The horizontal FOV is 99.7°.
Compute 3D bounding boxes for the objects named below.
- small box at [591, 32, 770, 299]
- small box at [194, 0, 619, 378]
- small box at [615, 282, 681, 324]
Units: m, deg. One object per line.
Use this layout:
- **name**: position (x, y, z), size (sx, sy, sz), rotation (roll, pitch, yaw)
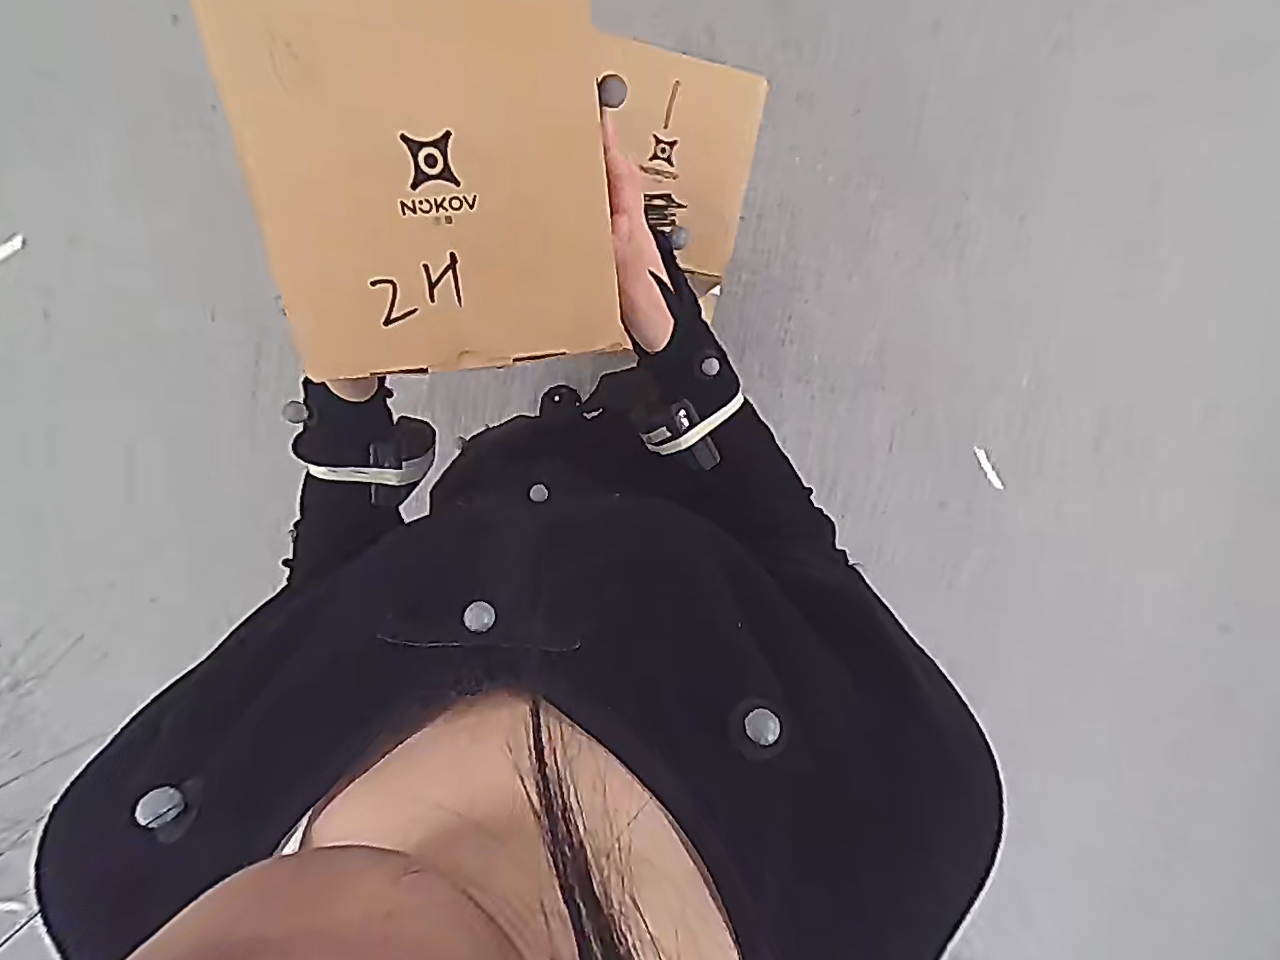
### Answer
- **small box**: position (0.013, -0.298, 0.560), size (0.168, 0.176, 0.179), rotation (11, 99, -7)
- **small box**: position (-0.108, -0.169, 0.330), size (0.168, 0.176, 0.179), rotation (-8, 111, -4)
- **small box**: position (-0.014, -0.362, 0.881), size (0.168, 0.176, 0.179), rotation (9, 101, -6)
